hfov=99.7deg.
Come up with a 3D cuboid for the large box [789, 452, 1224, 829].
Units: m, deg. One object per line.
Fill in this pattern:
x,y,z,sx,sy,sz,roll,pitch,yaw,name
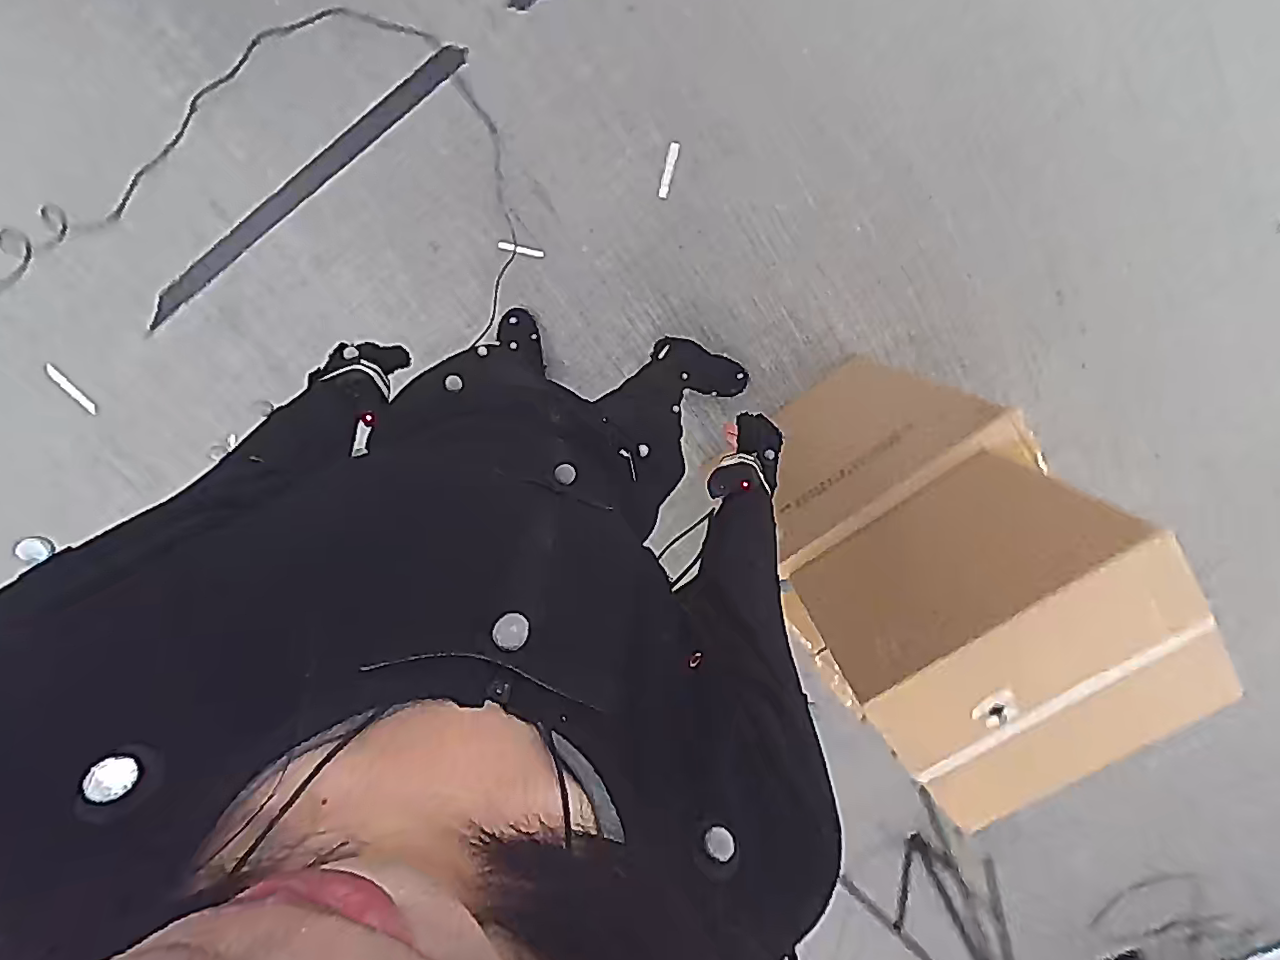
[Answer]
0.515,0.226,0.835,0.408,0.320,0.320,-36,108,11,large box
